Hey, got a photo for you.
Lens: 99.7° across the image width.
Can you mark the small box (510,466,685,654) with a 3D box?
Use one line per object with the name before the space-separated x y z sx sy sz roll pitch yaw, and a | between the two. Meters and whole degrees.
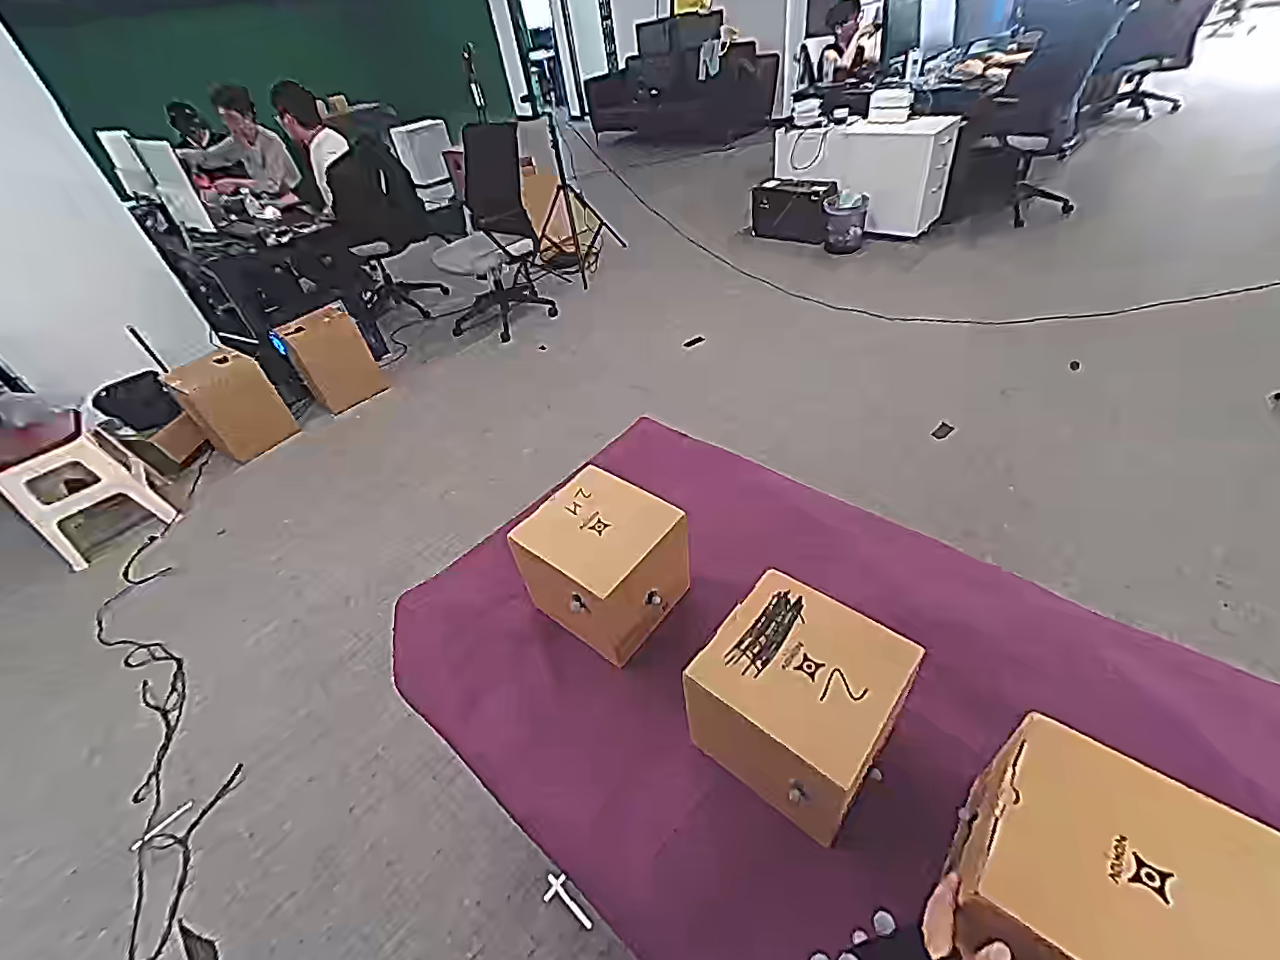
small box | -0.048 0.117 0.762 0.179 0.176 0.168 26 53 31
